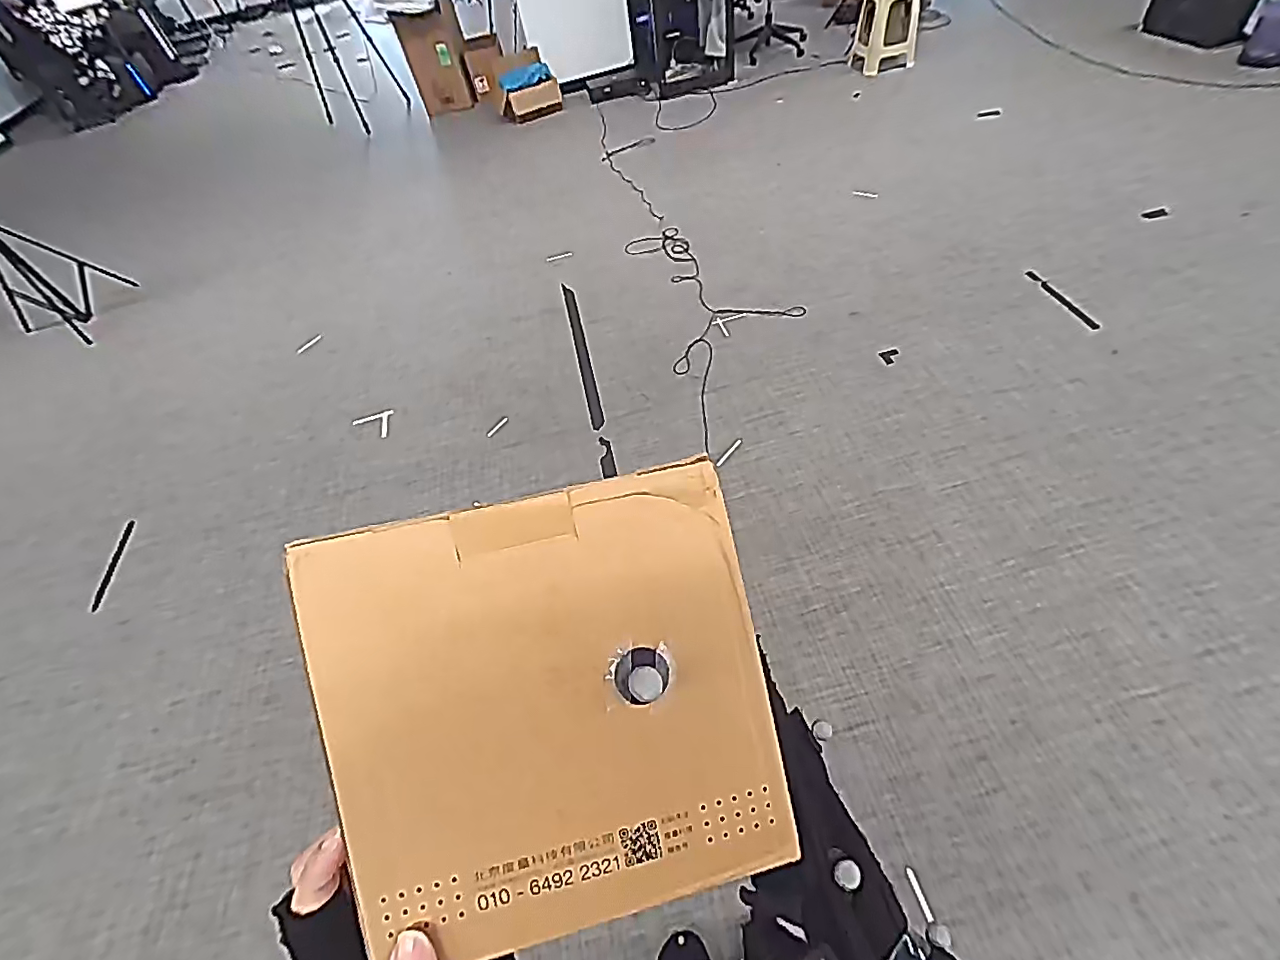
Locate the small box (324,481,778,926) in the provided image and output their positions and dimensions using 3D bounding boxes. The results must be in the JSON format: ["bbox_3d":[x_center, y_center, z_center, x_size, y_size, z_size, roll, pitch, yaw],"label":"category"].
[{"bbox_3d":[-0.039,0.101,0.305,0.168,0.179,0.176,-12,90,-6],"label":"small box"}]
